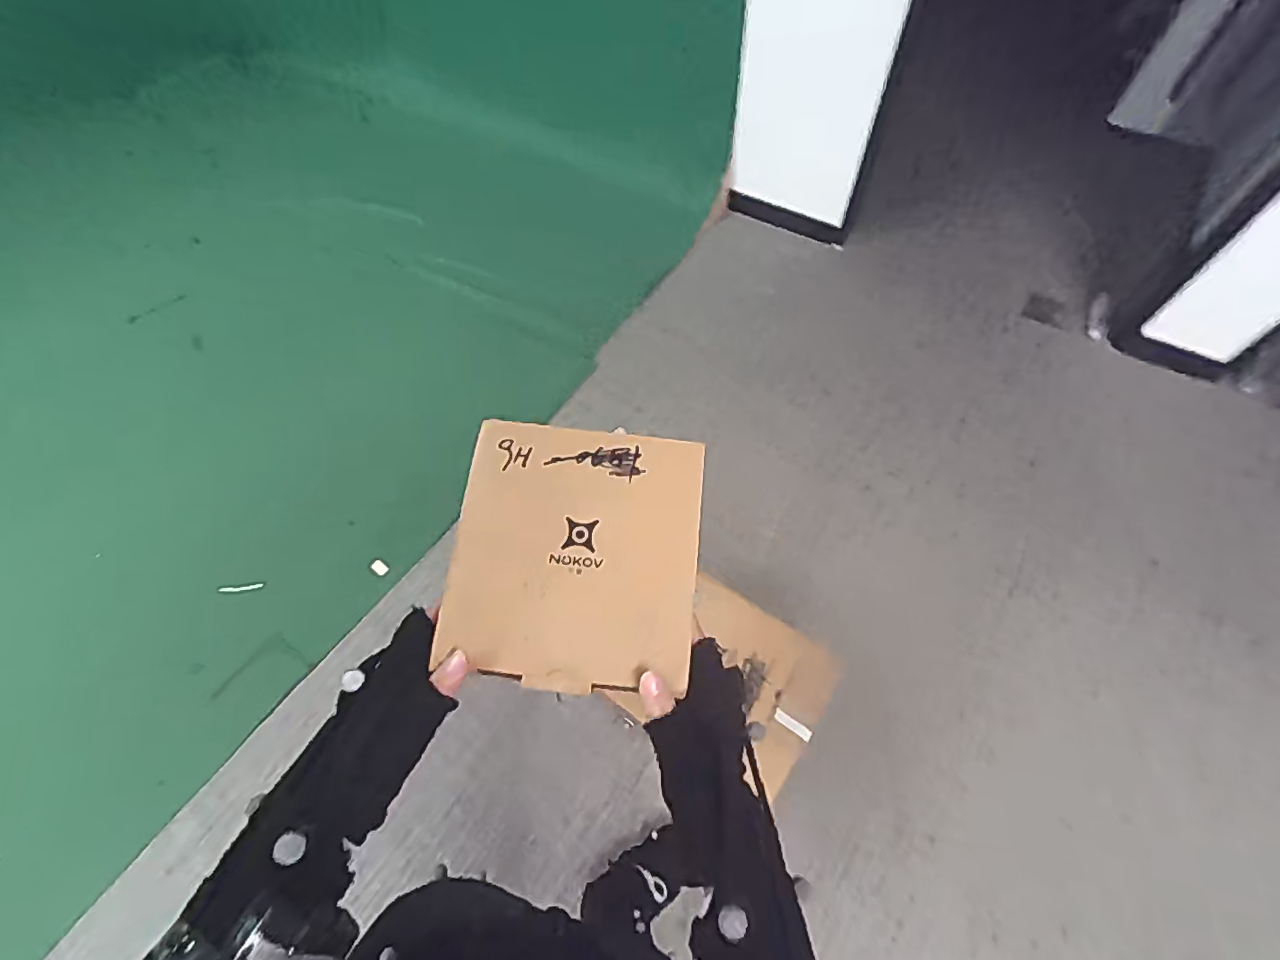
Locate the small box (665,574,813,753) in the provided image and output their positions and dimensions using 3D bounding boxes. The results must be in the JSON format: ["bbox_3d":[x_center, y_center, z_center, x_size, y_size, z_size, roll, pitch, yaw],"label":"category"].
[{"bbox_3d":[0.122,0.270,0.786,0.179,0.176,0.168,30,68,20],"label":"small box"}]

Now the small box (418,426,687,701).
[{"bbox_3d":[-0.054,0.073,0.440,0.168,0.176,0.179,4,72,1],"label":"small box"}]
